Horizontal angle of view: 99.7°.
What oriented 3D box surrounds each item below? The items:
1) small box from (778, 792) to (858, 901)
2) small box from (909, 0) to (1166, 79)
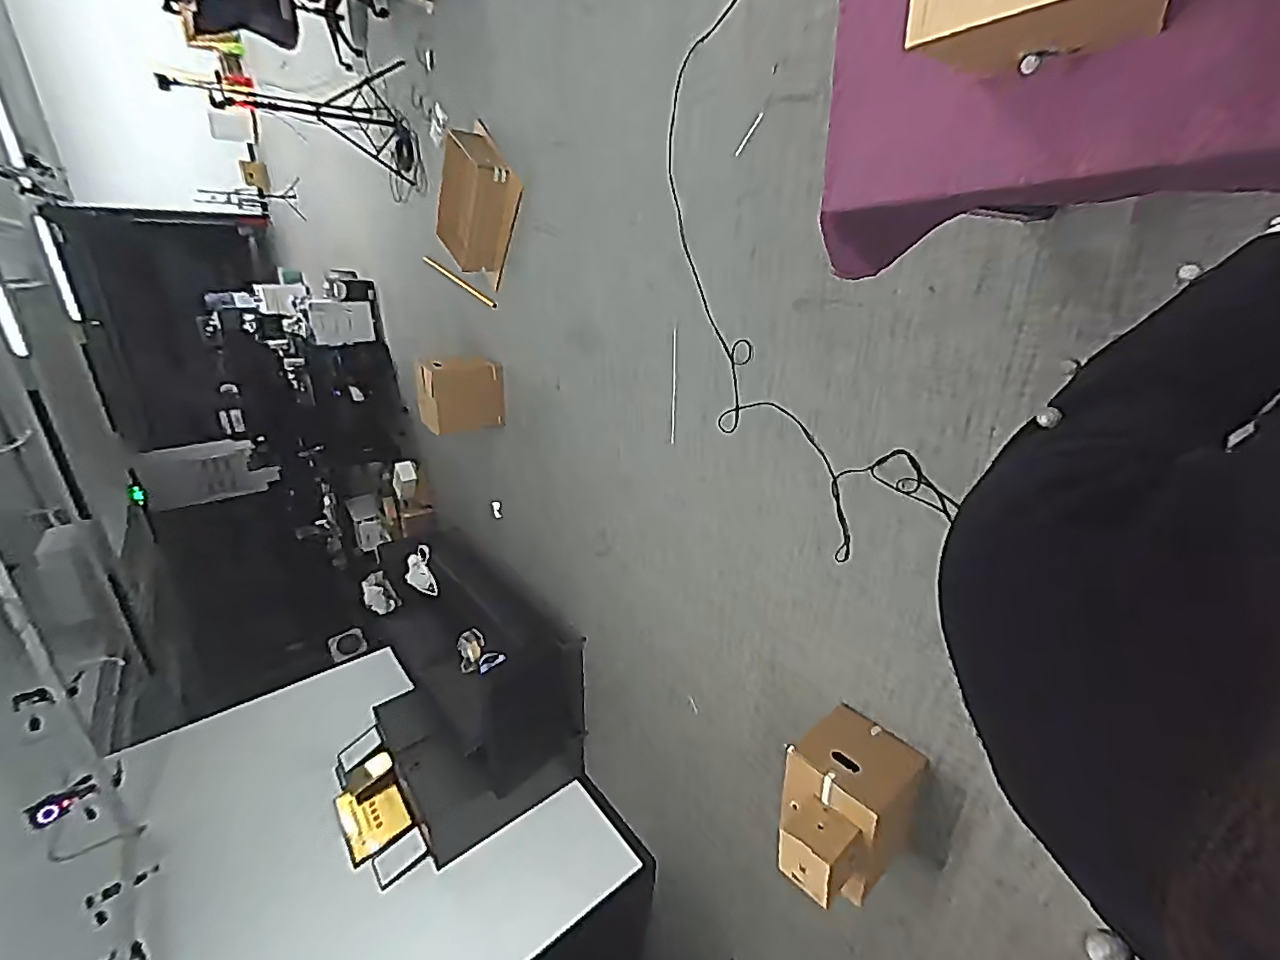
[{"bbox_3d":[0.541,1.099,1.640,0.168,0.176,0.179,19,118,47],"label":"small box"},{"bbox_3d":[0.382,-0.507,0.498,0.168,0.176,0.179,24,123,47],"label":"small box"}]
